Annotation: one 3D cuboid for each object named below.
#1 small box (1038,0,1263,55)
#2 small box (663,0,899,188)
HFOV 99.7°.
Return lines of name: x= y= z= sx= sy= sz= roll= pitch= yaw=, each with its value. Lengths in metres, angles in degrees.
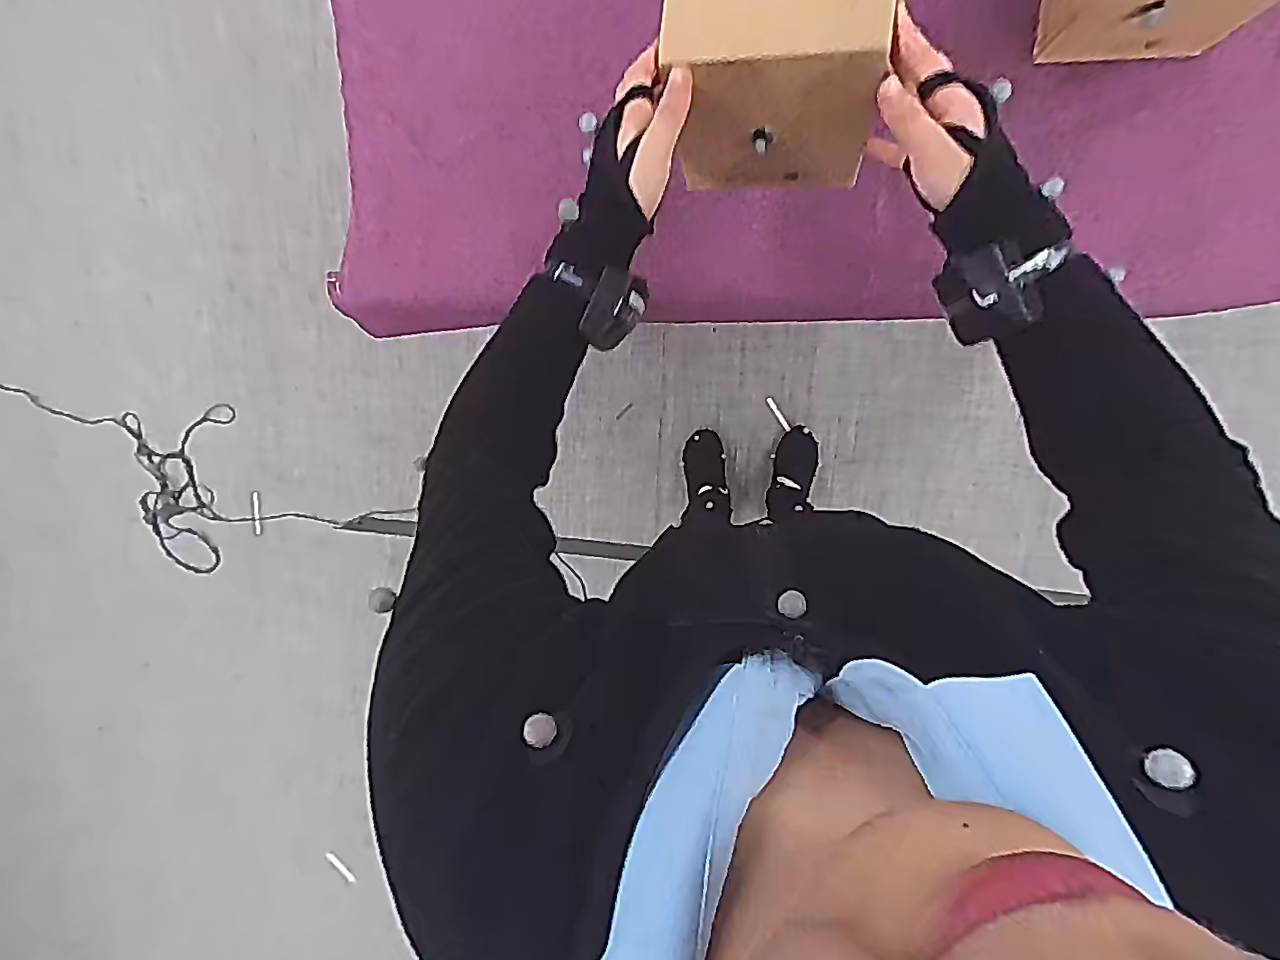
small box: x=0.513 y=-0.534 z=0.505 sx=0.168 sy=0.176 sz=0.179 roll=4 pitch=101 yaw=8
small box: x=0.124 y=-0.378 z=0.465 sx=0.168 sy=0.176 sz=0.179 roll=7 pitch=89 yaw=12
